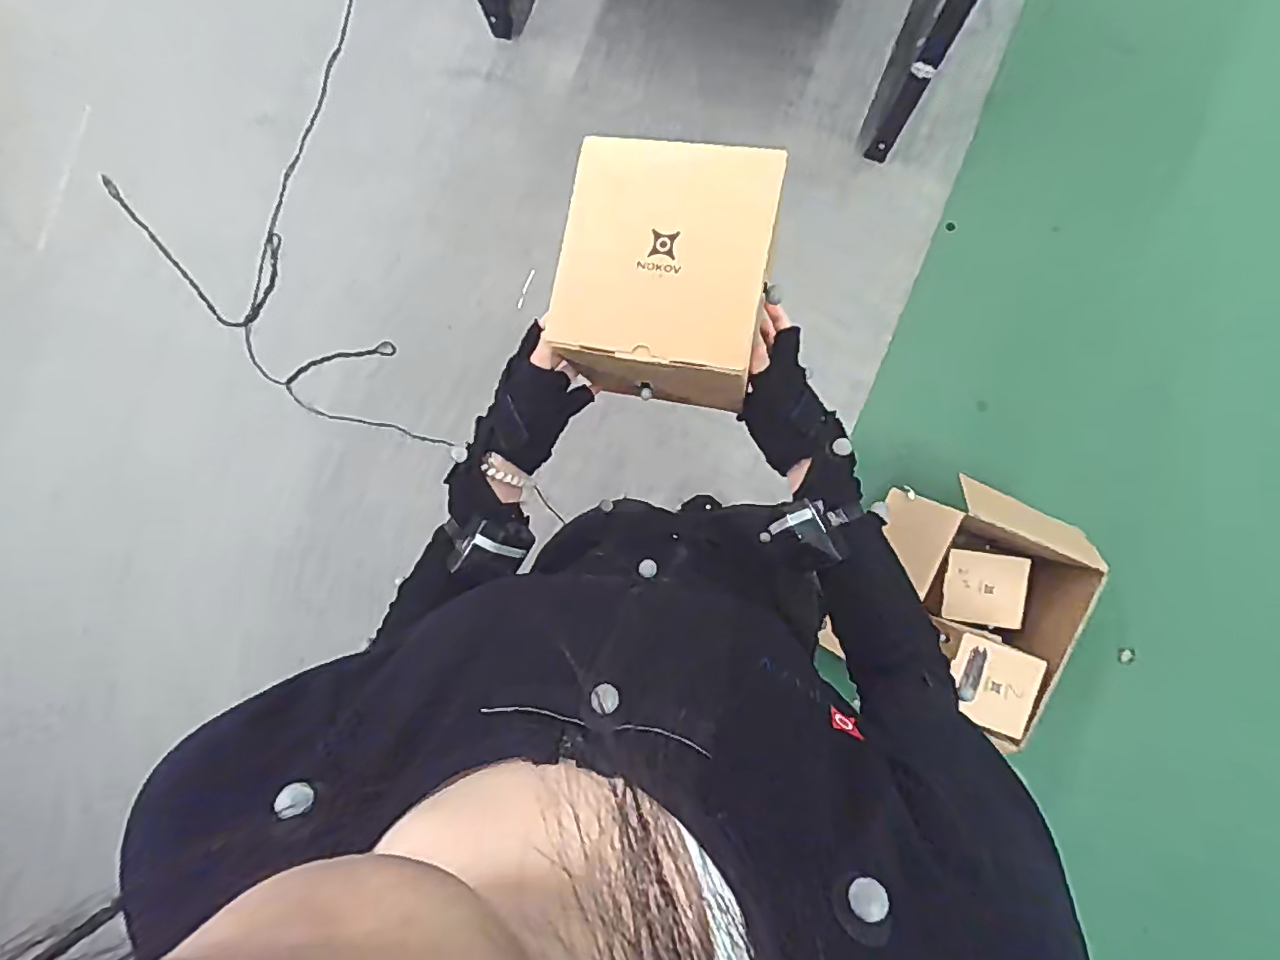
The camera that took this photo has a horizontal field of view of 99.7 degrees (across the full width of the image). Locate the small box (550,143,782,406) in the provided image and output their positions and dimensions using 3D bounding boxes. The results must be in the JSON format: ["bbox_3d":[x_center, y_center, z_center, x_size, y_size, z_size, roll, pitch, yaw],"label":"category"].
[{"bbox_3d":[0.031,-0.181,0.519,0.168,0.176,0.179,11,90,10],"label":"small box"}]
